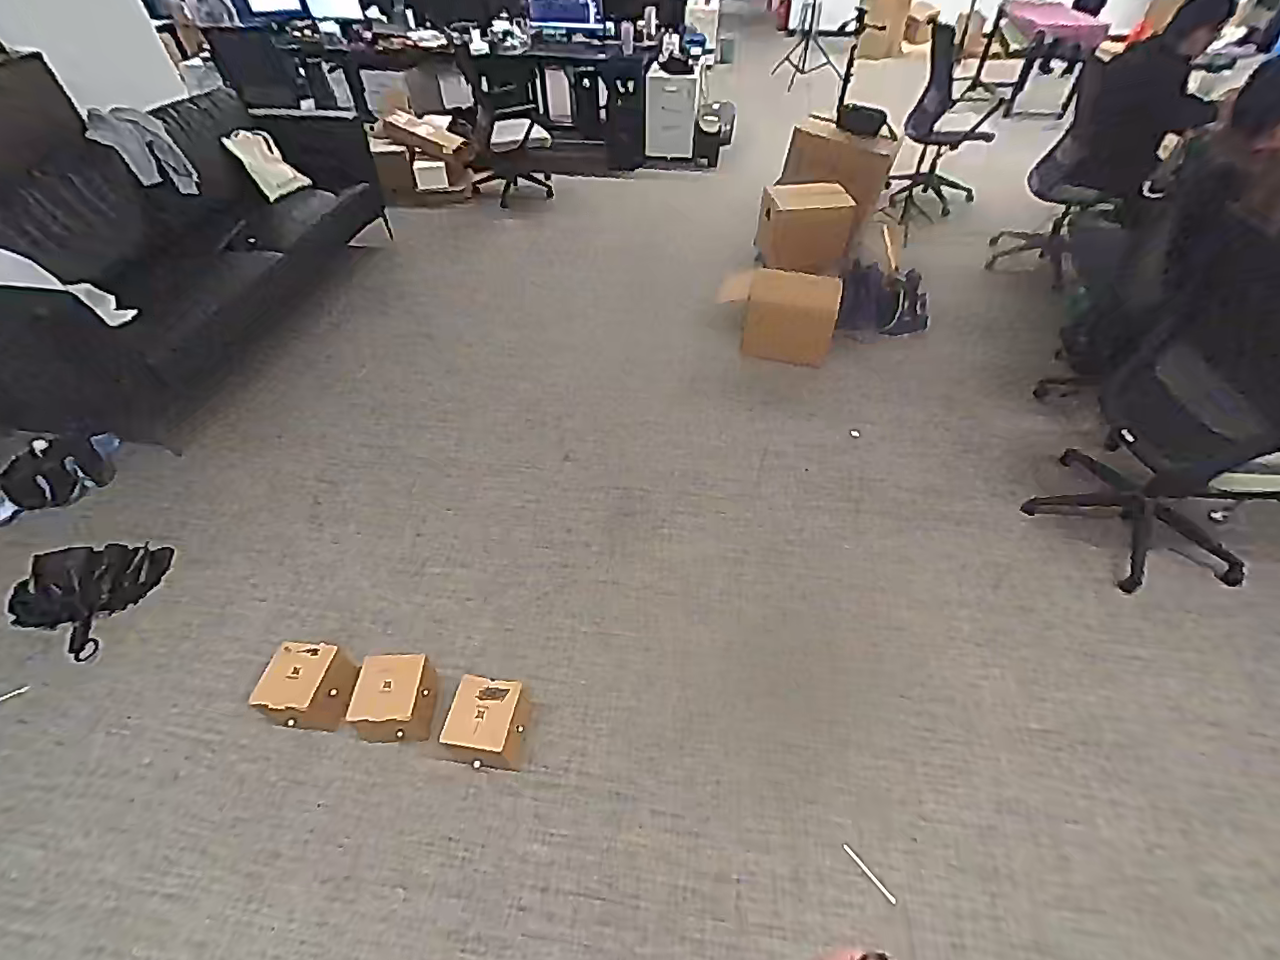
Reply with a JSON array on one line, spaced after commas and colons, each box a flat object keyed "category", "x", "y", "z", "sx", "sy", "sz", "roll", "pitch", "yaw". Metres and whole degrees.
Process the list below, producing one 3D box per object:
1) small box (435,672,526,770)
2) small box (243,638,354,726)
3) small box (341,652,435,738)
[{"category": "small box", "x": -0.406, "y": 0.633, "z": 1.419, "sx": 0.168, "sy": 0.176, "sz": 0.179, "roll": 6, "pitch": 48, "yaw": 7}, {"category": "small box", "x": -0.926, "y": 0.560, "z": 1.489, "sx": 0.168, "sy": 0.176, "sz": 0.179, "roll": 4, "pitch": 48, "yaw": 4}, {"category": "small box", "x": -0.671, "y": 0.587, "z": 1.466, "sx": 0.168, "sy": 0.176, "sz": 0.179, "roll": -1, "pitch": 45, "yaw": -2}]
